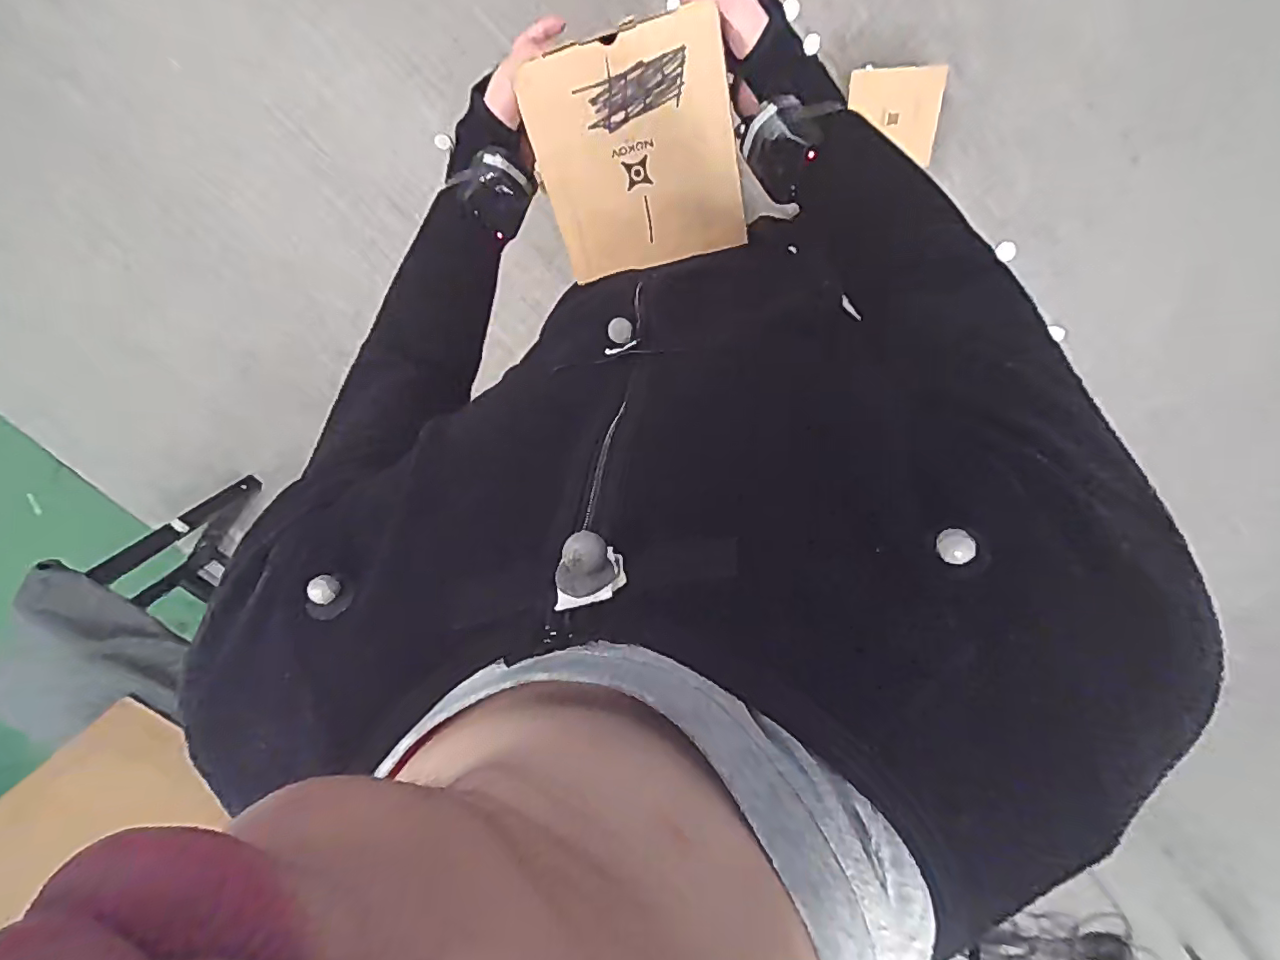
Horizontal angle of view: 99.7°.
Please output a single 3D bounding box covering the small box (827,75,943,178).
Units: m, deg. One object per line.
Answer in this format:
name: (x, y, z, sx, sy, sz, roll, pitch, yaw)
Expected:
small box: (0.499, -0.732, 1.135, 0.179, 0.176, 0.168, 2, 118, 8)
